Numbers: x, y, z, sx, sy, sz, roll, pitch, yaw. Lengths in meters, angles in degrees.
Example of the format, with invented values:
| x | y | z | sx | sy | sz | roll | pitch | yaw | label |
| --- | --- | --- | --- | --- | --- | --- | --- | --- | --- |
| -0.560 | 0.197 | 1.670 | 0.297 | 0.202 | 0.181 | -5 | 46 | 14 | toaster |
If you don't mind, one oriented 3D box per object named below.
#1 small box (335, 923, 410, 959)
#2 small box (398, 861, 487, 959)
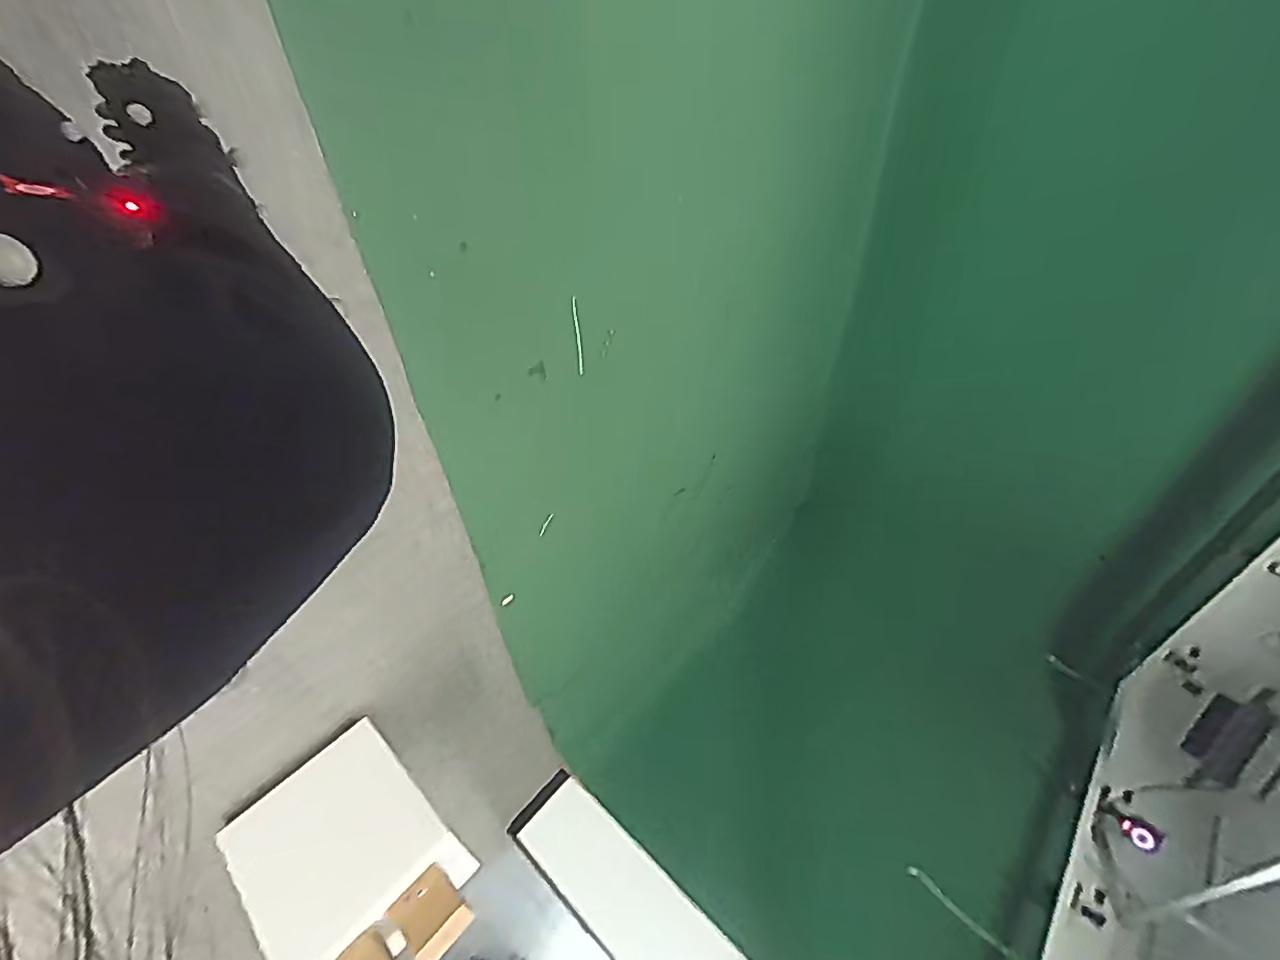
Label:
| x | y | z | sx | sy | sz | roll | pitch | yaw | label |
| --- | --- | --- | --- | --- | --- | --- | --- | --- | --- |
| -0.766 | 1.423 | 1.548 | 0.168 | 0.176 | 0.179 | -38 | 143 | -31 | small box |
| -0.608 | 1.321 | 1.663 | 0.168 | 0.176 | 0.179 | -40 | 141 | -30 | small box |
